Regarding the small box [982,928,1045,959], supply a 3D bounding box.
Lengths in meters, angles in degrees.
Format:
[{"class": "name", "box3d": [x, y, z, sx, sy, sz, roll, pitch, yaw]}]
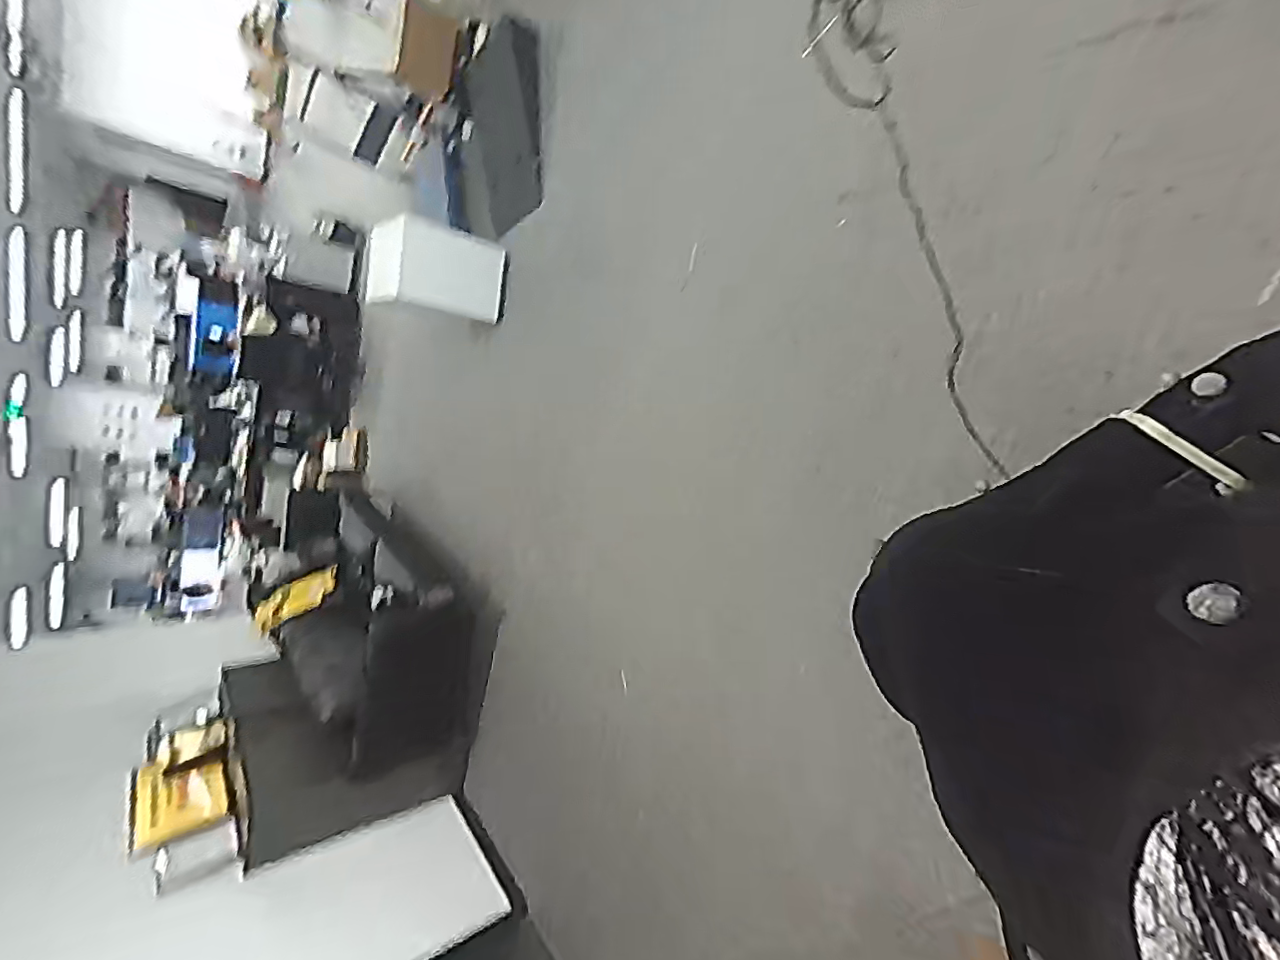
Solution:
[{"class": "small box", "box3d": [0.853, 1.187, 1.222, 0.168, 0.176, 0.179, 27, 108, 43]}]
